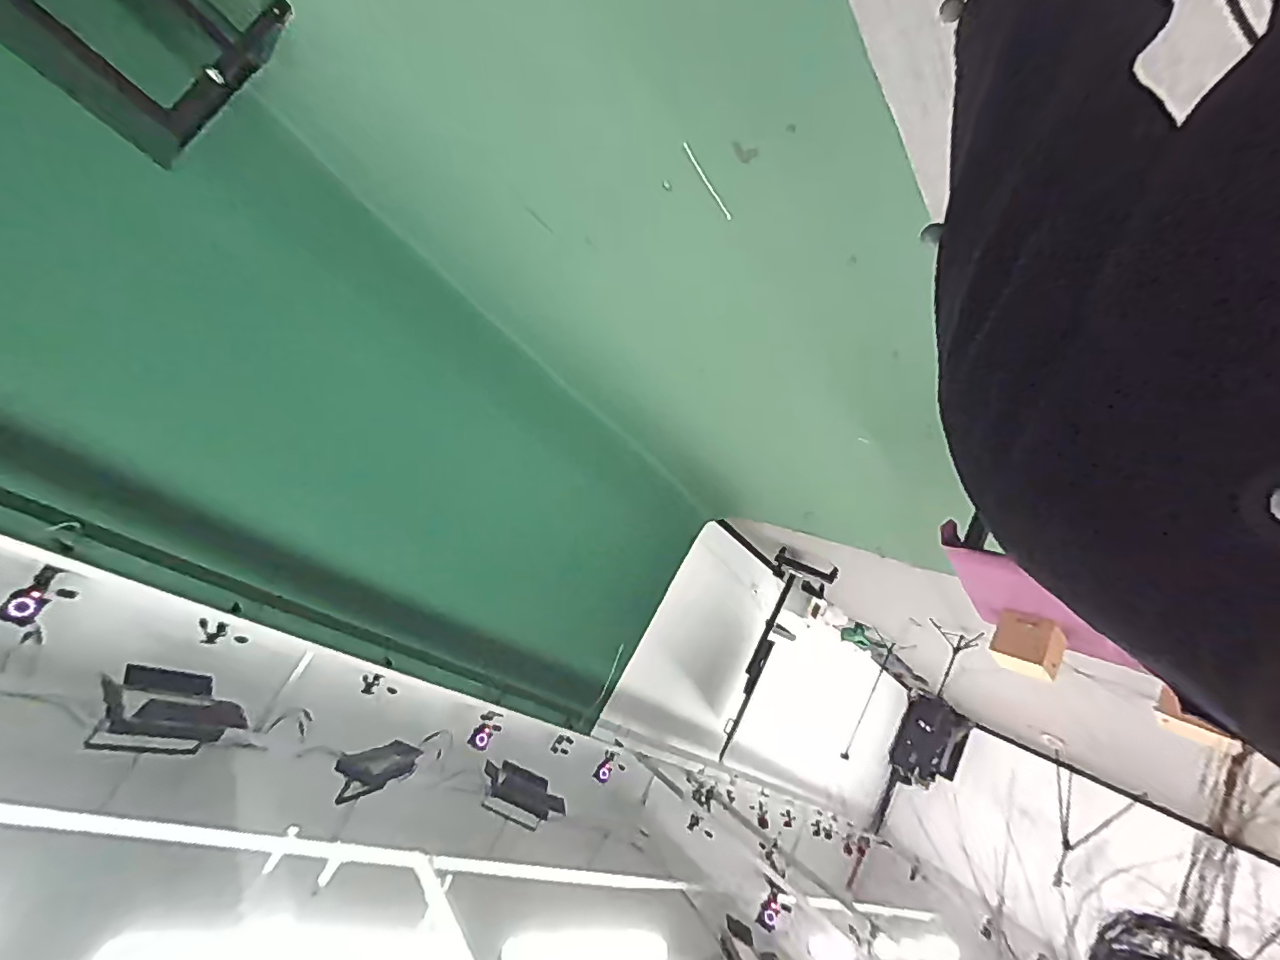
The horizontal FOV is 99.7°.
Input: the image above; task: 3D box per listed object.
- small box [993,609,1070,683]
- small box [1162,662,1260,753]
[{"bbox_3d":[1.375,0.577,1.892,0.179,0.176,0.168,41,161,-33],"label":"small box"},{"bbox_3d":[1.662,0.657,1.578,0.179,0.176,0.168,13,157,49],"label":"small box"}]
